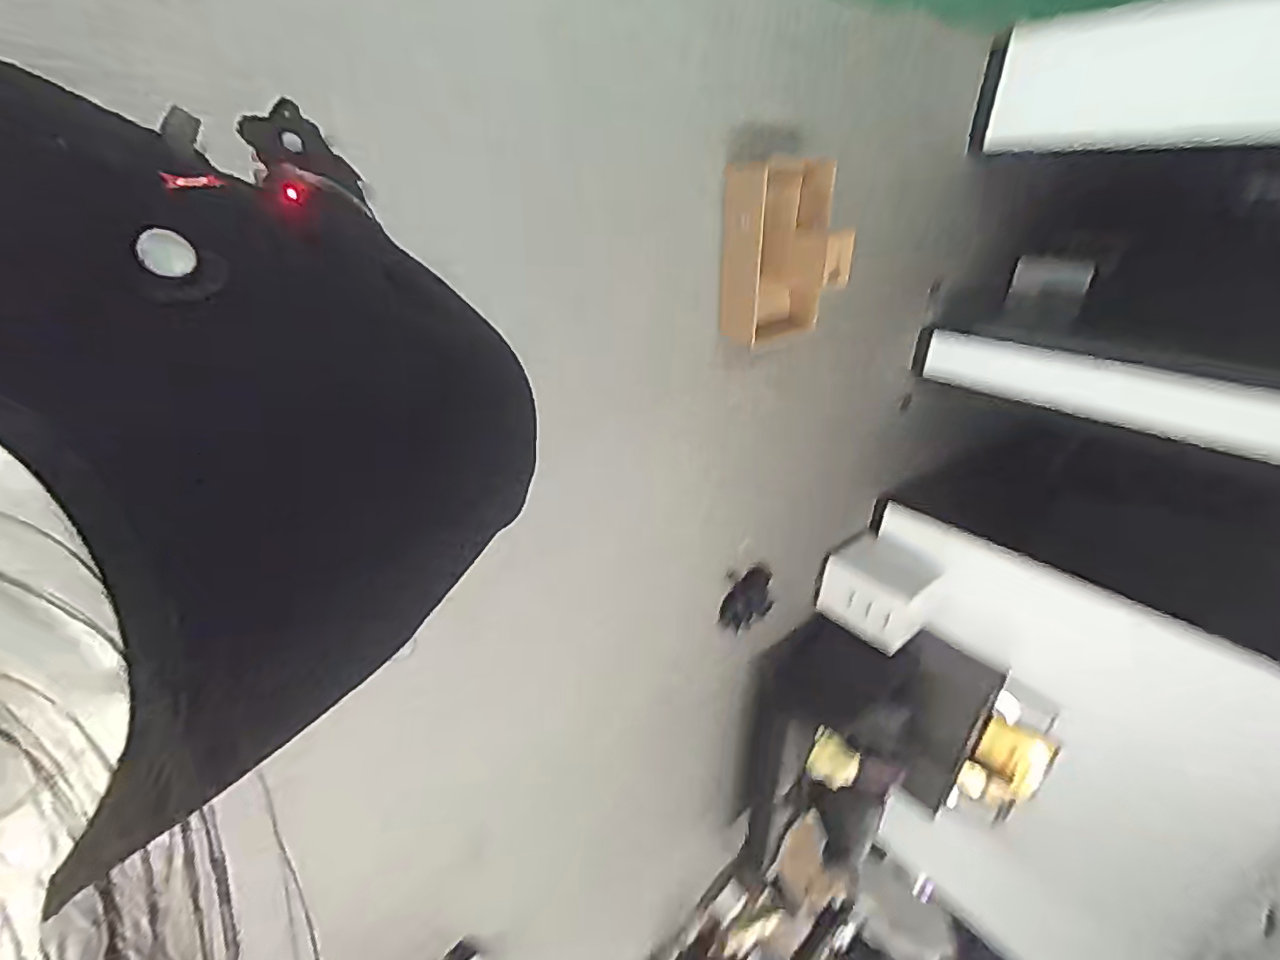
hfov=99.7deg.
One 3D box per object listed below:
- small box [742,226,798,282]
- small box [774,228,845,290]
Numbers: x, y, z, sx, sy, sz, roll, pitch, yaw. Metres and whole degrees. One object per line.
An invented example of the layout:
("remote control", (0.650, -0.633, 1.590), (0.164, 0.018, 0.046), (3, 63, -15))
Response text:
("small box", (0.495, -0.839, 2.000), (0.179, 0.176, 0.168), (-27, 129, -34))
("small box", (0.588, -0.782, 1.900), (0.168, 0.176, 0.179), (-25, 127, -34))
